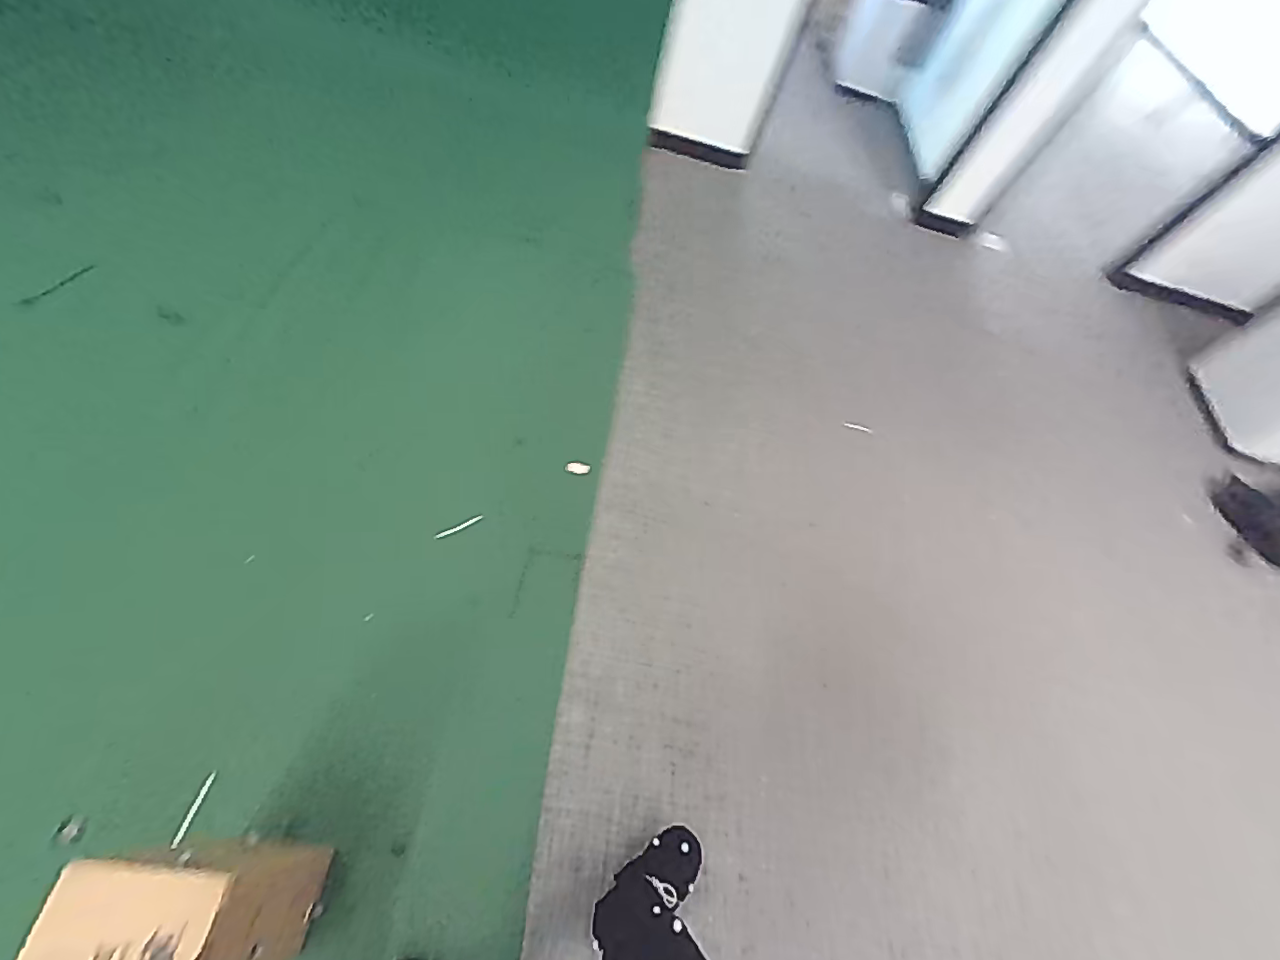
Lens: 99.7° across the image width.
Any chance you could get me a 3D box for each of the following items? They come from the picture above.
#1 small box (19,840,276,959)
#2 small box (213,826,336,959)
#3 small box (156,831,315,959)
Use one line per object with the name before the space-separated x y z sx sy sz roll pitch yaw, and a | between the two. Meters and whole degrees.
small box | -0.585 0.547 0.655 0.179 0.176 0.168 11 59 -8
small box | -0.653 0.699 0.917 0.179 0.176 0.168 14 61 -8
small box | -0.621 0.626 0.795 0.179 0.176 0.168 12 60 -7
